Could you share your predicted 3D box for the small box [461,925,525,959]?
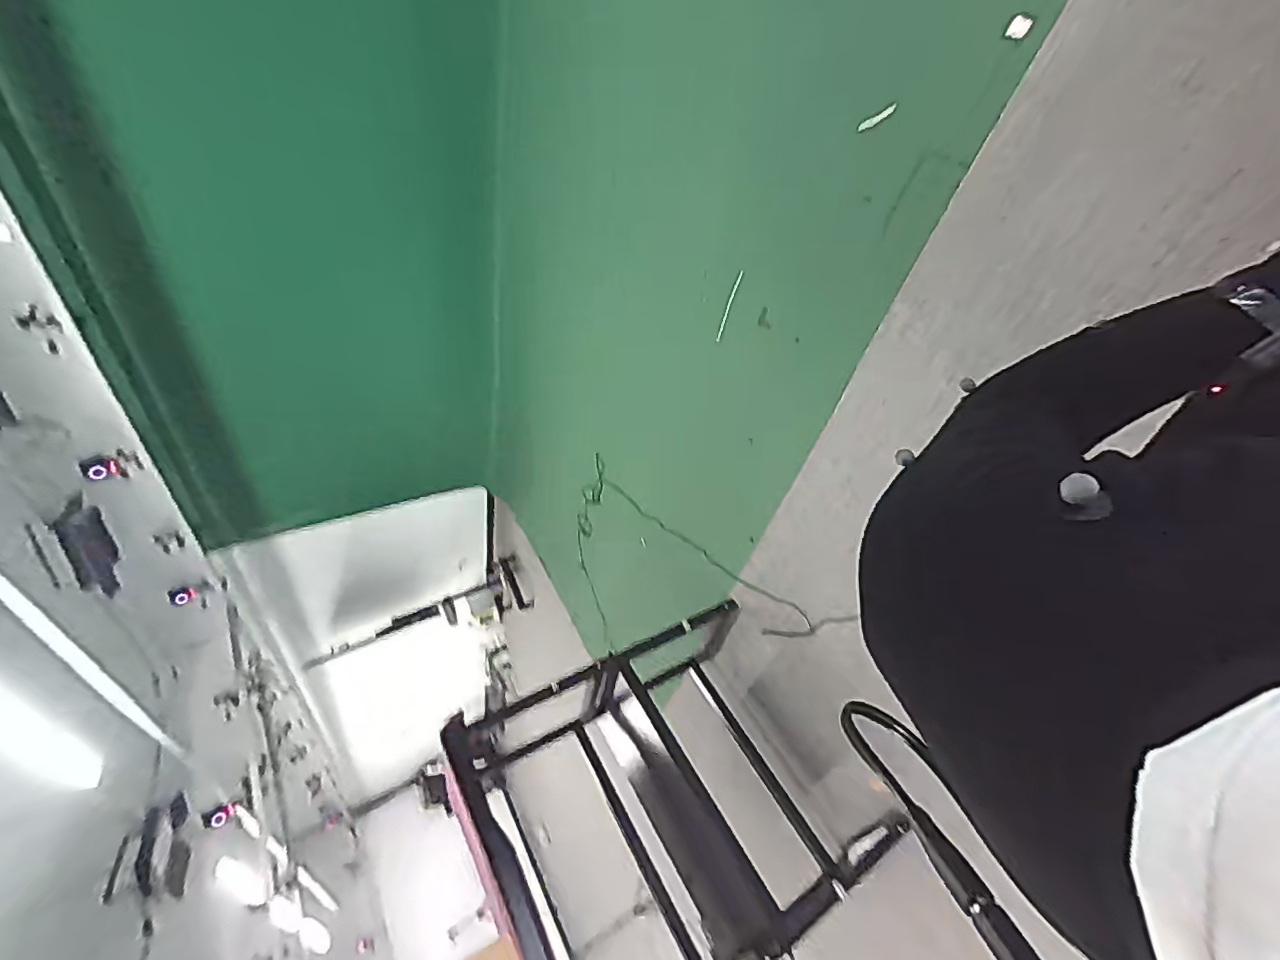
[{"bbox_3d":[-0.437,1.516,1.655,0.179,0.176,0.168,54,146,31],"label":"small box"}]
